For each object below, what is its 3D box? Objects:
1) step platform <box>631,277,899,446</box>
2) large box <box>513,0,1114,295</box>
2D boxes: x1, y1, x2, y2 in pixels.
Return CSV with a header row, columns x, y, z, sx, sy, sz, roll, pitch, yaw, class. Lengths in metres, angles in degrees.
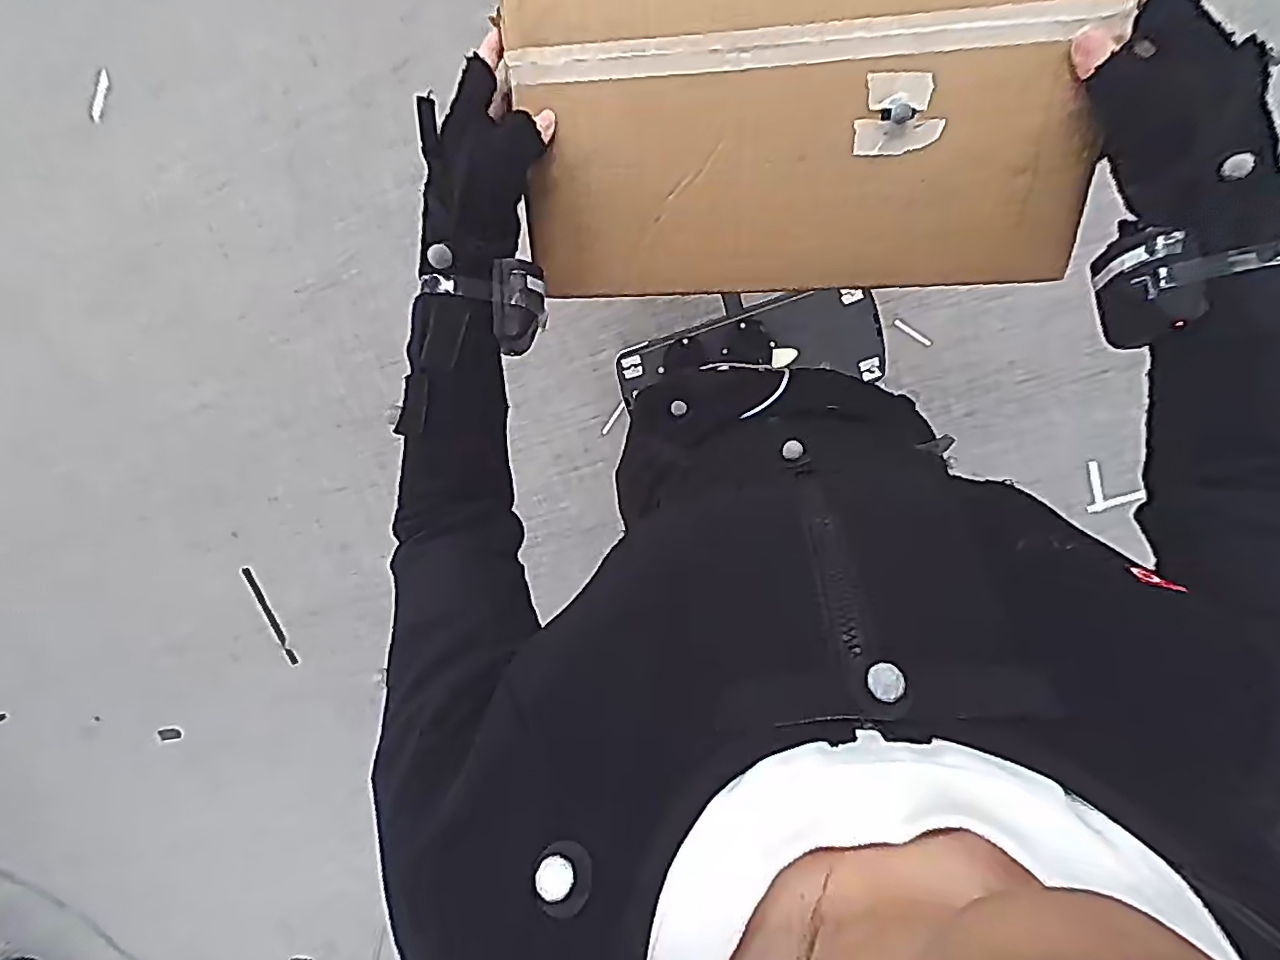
x,y,z,sx,sy,sz,roll,pitch,yaw,class
0.321,-0.326,1.459,0.684,0.204,0.286,-18,104,9,step platform
0.122,-0.362,0.508,0.408,0.320,0.320,0,115,6,large box
